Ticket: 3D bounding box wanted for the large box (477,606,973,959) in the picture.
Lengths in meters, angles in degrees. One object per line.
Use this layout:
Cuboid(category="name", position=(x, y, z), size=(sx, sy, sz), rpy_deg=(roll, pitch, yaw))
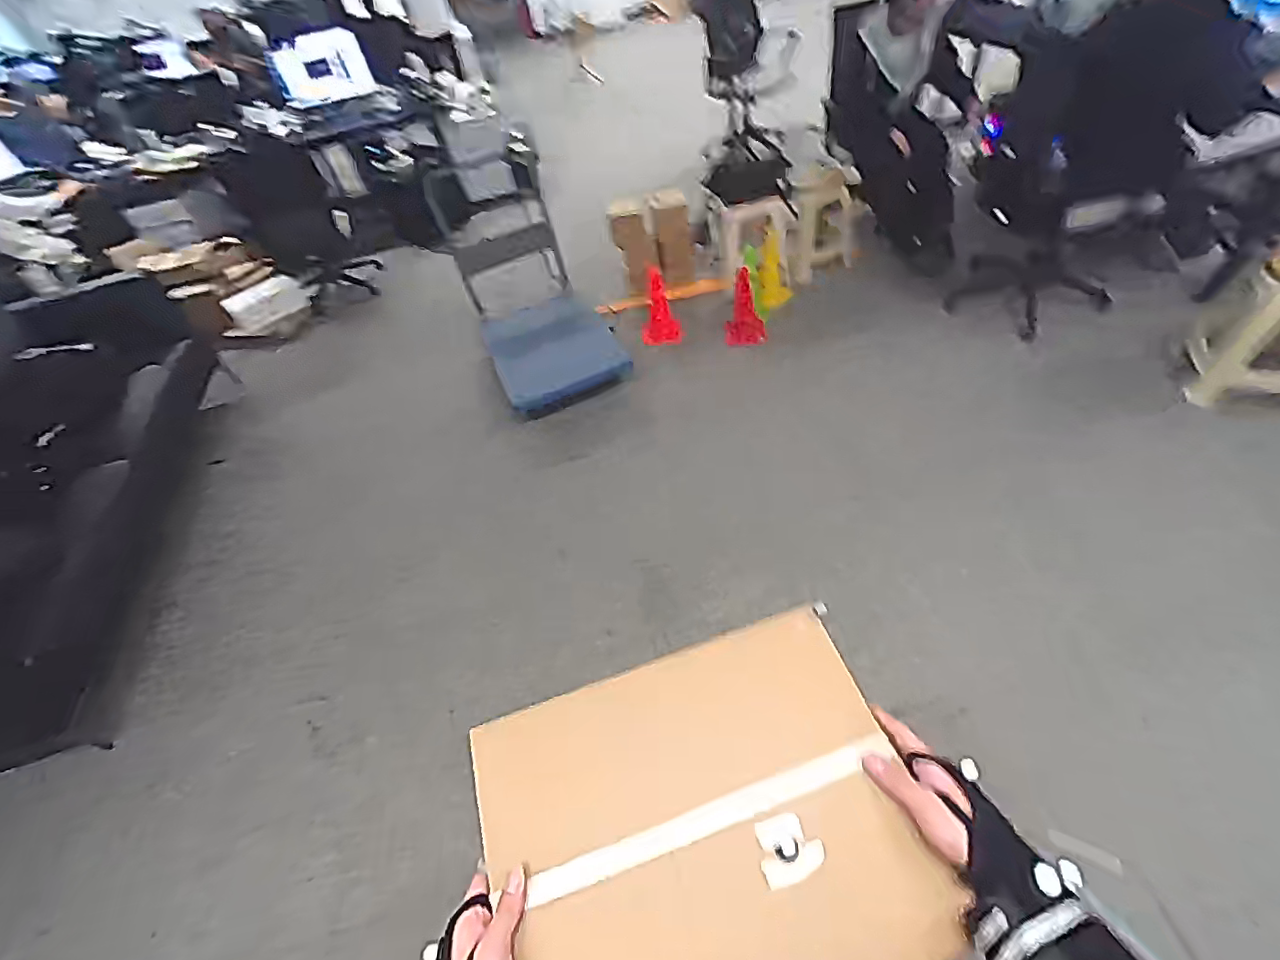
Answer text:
Cuboid(category="large box", position=(0.069, 0.412, 0.647), size=(0.408, 0.320, 0.320), rpy_deg=(-18, 56, -8))
